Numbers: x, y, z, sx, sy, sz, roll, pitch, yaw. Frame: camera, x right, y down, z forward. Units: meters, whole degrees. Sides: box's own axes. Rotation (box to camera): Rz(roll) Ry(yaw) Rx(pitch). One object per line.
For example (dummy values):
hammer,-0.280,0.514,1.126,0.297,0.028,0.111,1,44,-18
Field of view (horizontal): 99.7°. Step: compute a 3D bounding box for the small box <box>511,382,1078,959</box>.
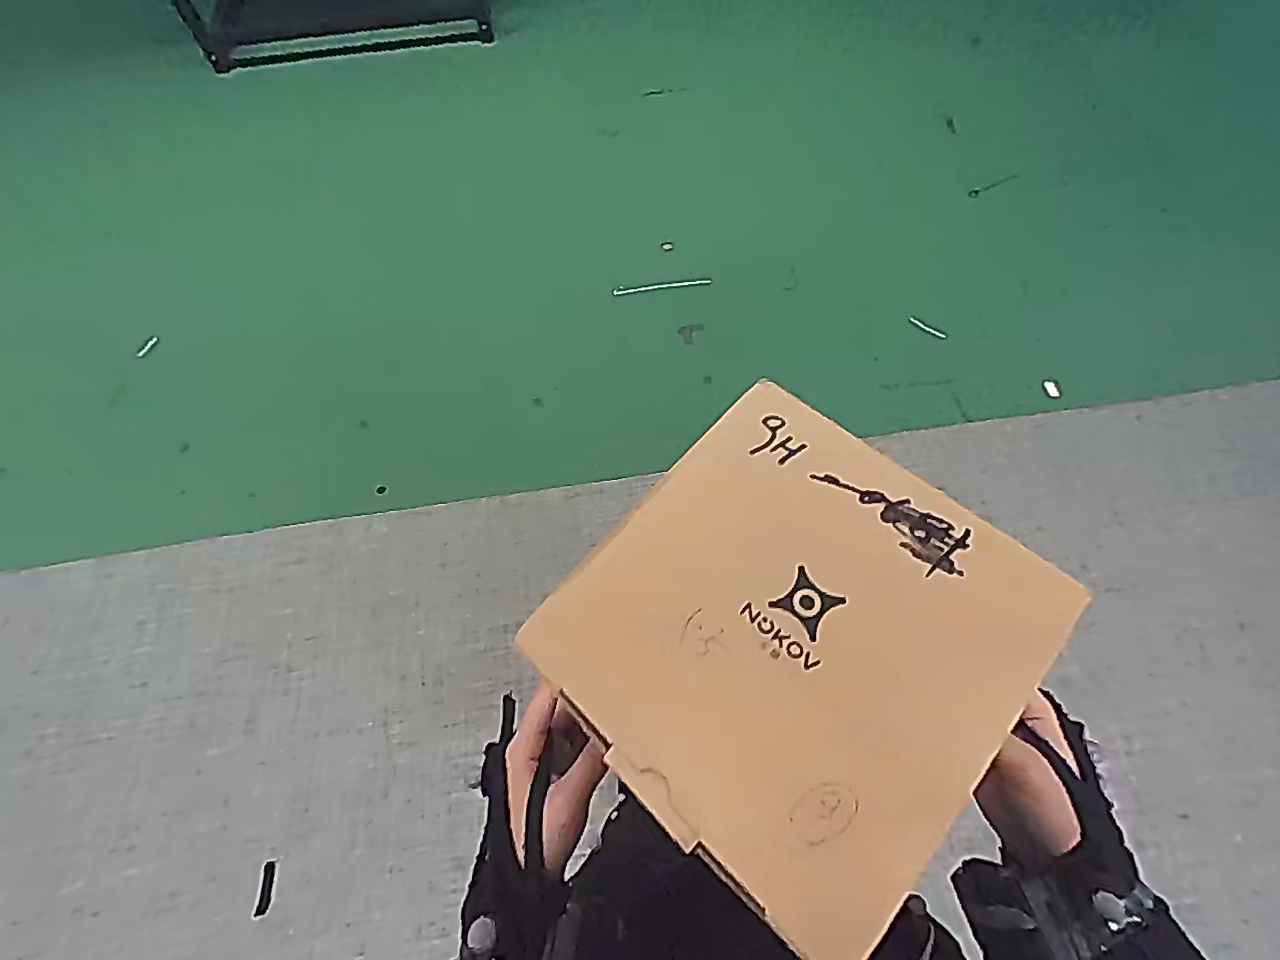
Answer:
small box,0.068,0.090,0.295,0.168,0.176,0.179,39,75,21
